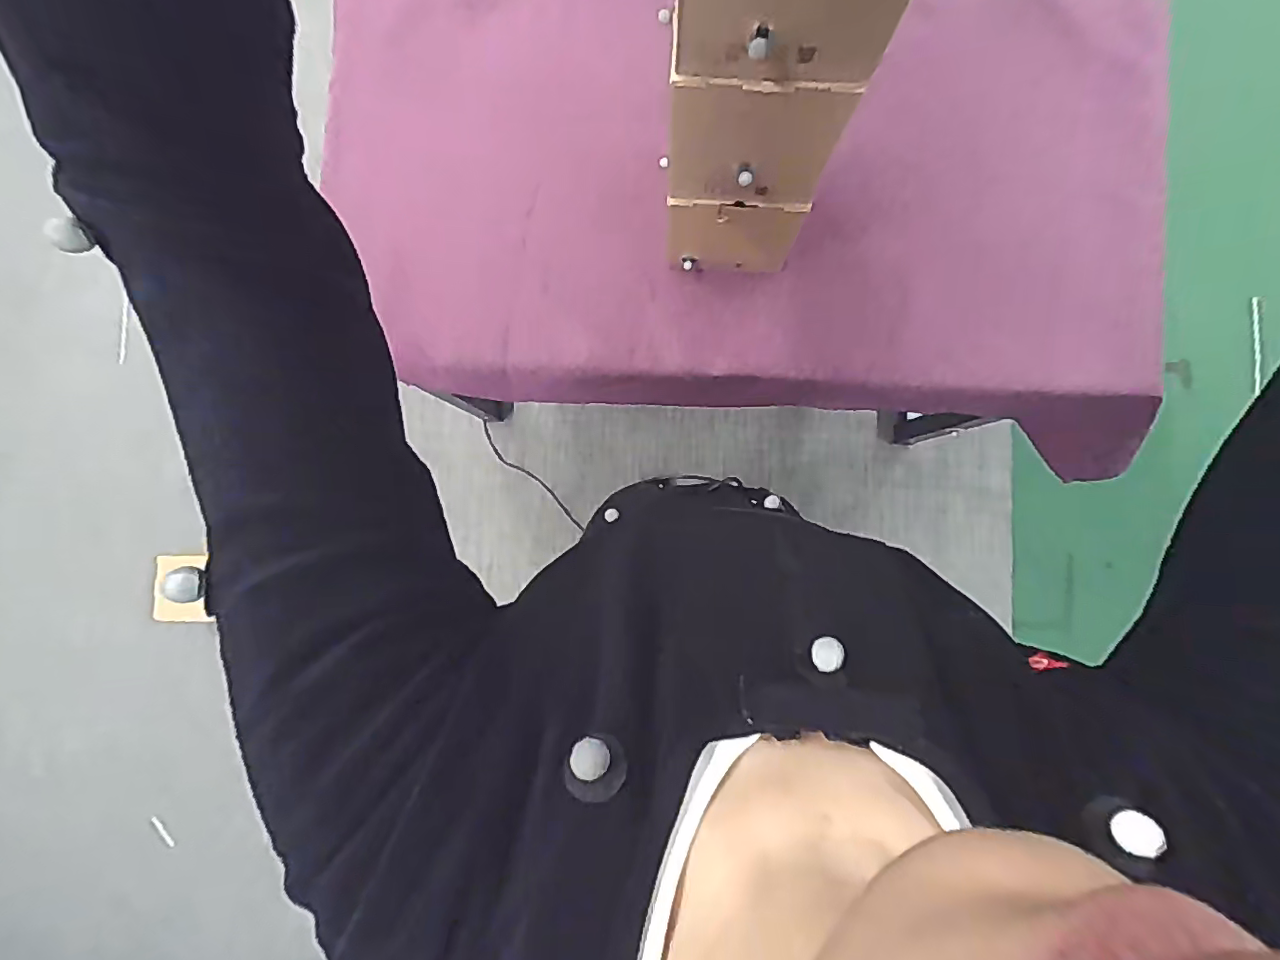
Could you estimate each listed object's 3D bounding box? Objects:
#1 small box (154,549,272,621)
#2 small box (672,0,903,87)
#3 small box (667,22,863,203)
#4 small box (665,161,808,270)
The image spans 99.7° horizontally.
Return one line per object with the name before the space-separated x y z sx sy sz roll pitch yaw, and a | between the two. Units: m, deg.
small box | -1.125 0.273 1.435 0.179 0.176 0.168 1 86 3
small box | 0.110 -0.427 0.380 0.168 0.176 0.179 4 87 3
small box | 0.115 -0.412 0.542 0.168 0.176 0.179 4 87 3
small box | 0.122 -0.394 0.705 0.168 0.176 0.179 4 86 2
